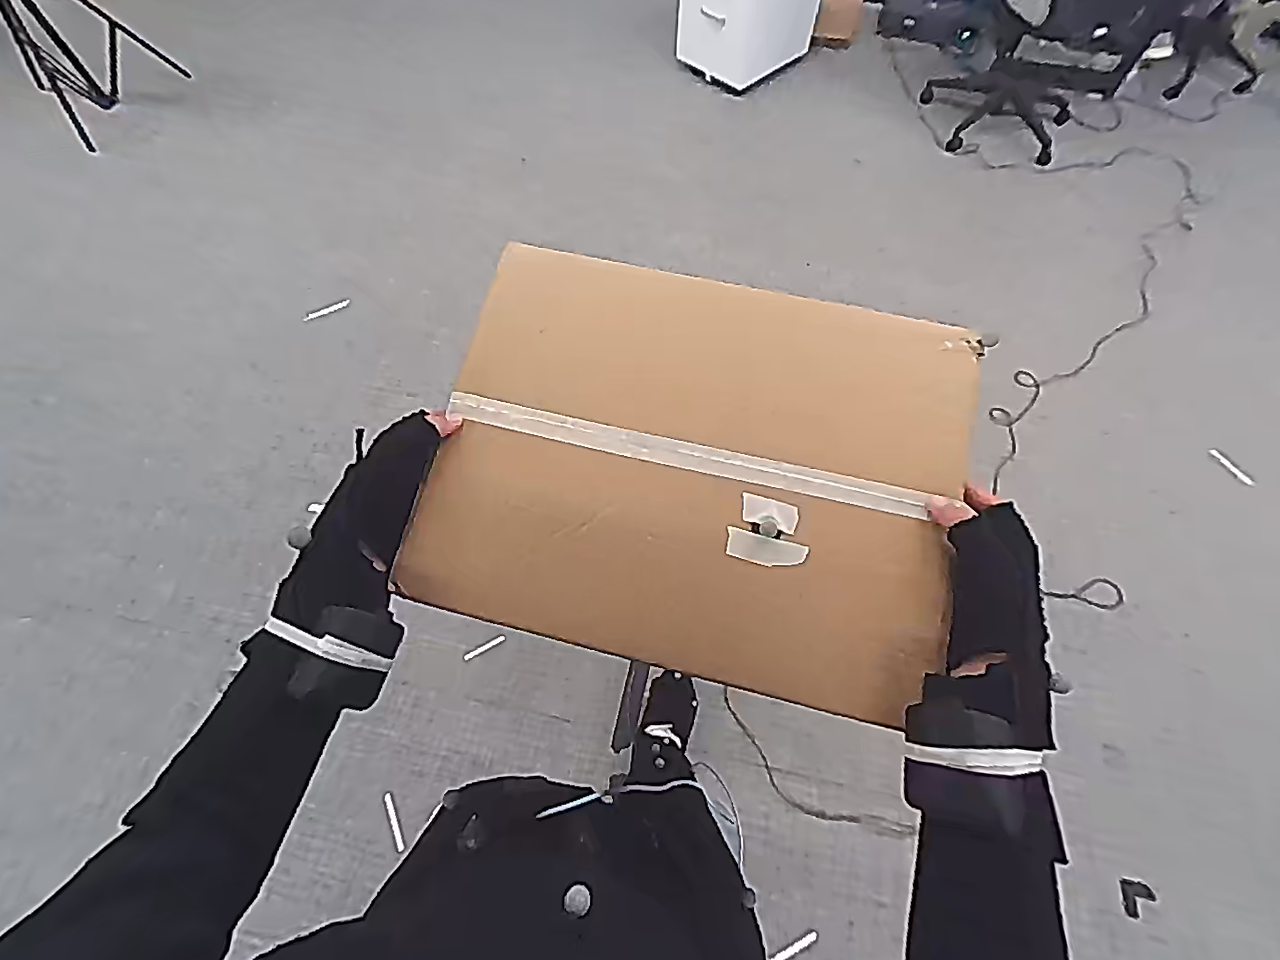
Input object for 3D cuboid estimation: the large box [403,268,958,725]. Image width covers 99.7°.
[{"bbox_3d":[0.044,0.028,0.579,0.408,0.320,0.320,13,77,5],"label":"large box"}]
